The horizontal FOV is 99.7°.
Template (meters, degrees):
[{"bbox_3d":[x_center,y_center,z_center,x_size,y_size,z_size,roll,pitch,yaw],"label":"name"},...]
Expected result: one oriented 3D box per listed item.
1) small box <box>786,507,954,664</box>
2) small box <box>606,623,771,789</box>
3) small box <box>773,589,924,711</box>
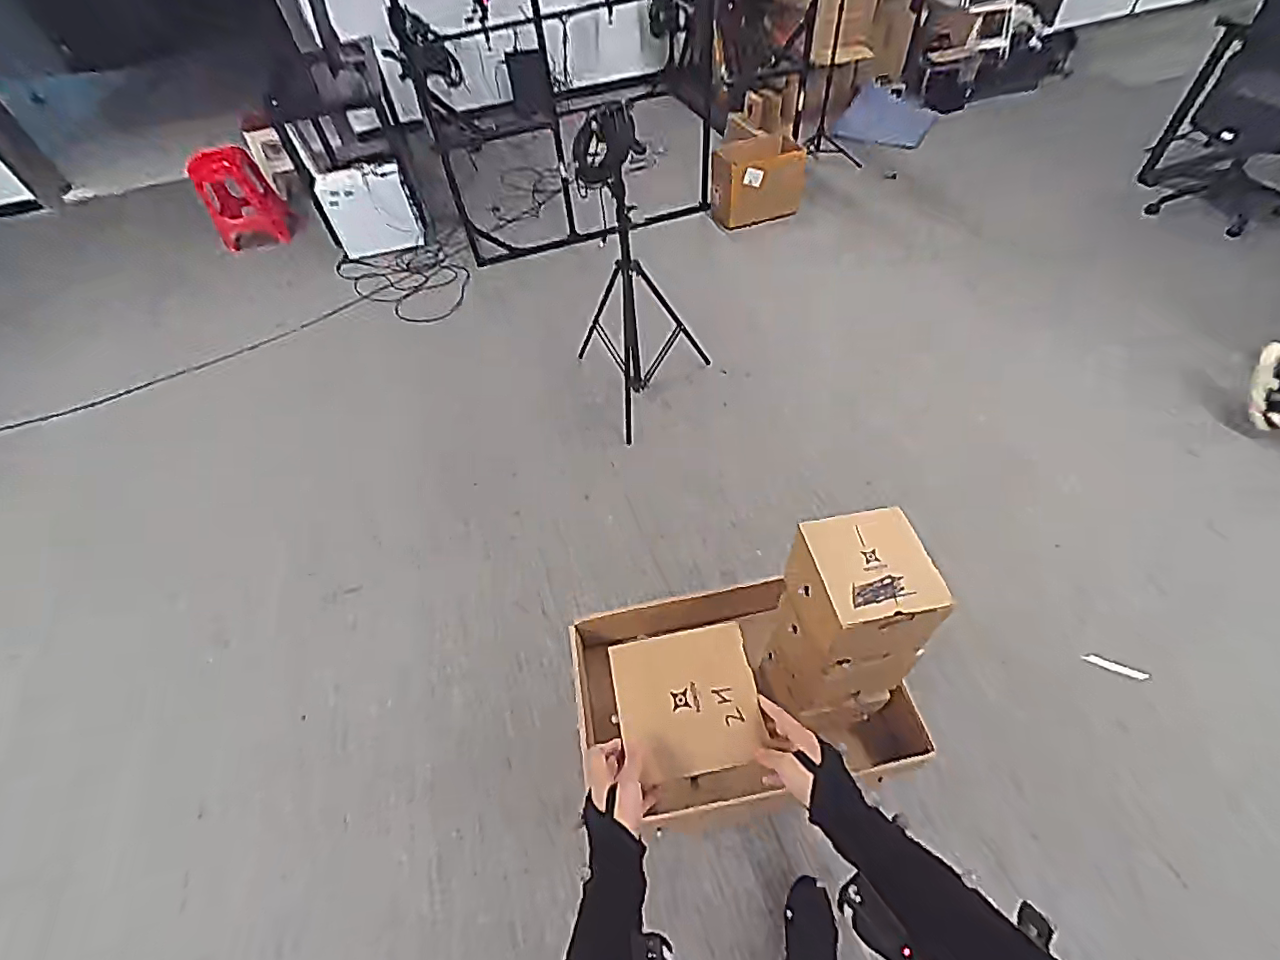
[{"bbox_3d":[0.339,0.170,0.837,0.168,0.176,0.179,-9,50,-3],"label":"small box"},{"bbox_3d":[0.059,0.308,0.724,0.179,0.176,0.168,-10,60,-2],"label":"small box"},{"bbox_3d":[0.353,0.286,0.955,0.179,0.176,0.168,-12,51,-6],"label":"small box"}]
